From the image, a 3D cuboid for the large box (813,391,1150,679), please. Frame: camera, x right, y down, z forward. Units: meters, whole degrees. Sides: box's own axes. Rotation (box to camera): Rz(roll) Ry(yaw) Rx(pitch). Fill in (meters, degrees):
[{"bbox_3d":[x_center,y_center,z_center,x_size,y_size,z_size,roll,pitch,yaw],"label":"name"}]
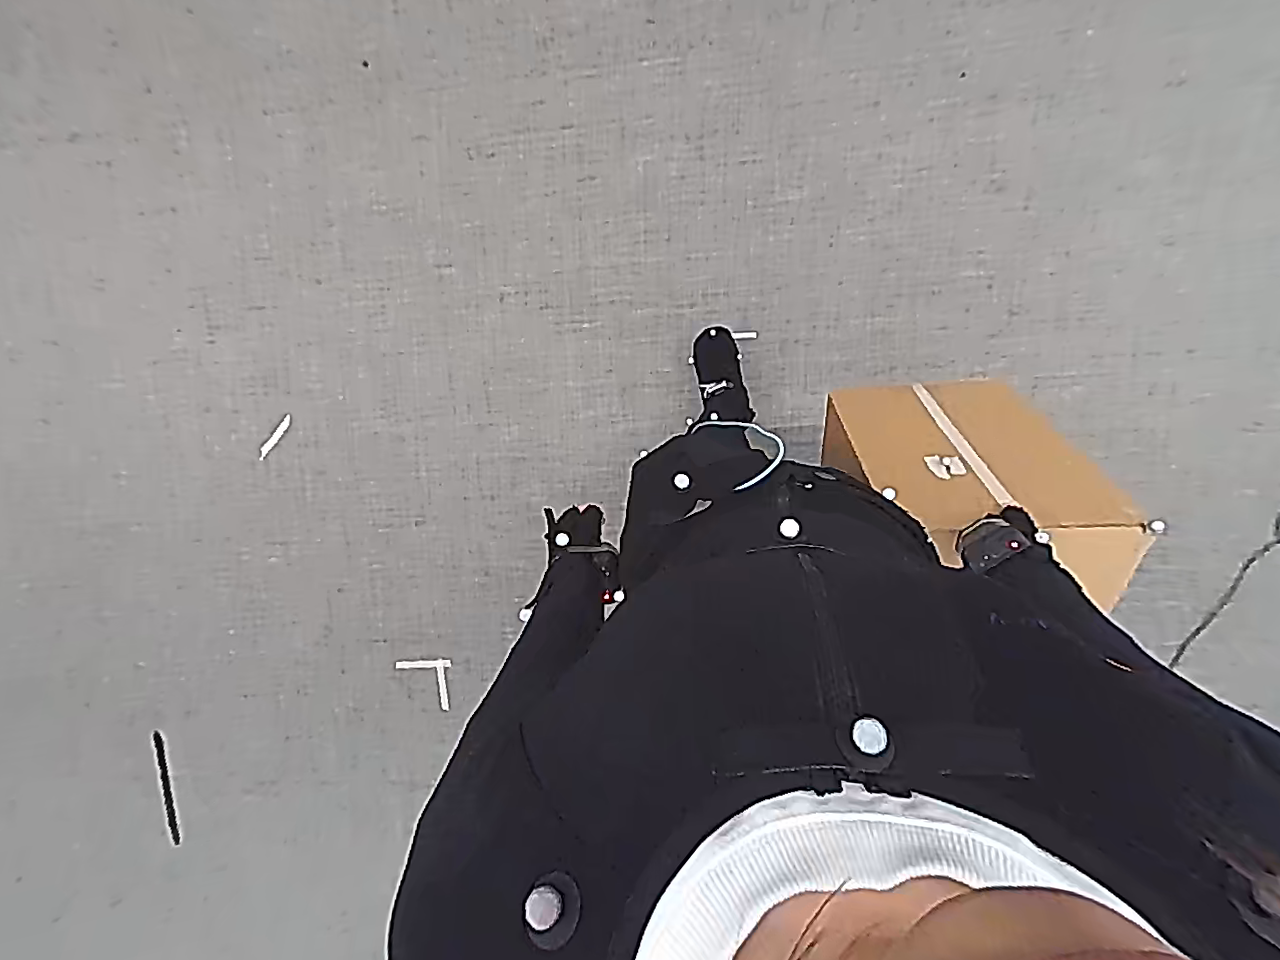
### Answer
[{"bbox_3d":[0.504,0.078,0.928,0.320,0.408,0.320,-3,126,7],"label":"large box"}]
